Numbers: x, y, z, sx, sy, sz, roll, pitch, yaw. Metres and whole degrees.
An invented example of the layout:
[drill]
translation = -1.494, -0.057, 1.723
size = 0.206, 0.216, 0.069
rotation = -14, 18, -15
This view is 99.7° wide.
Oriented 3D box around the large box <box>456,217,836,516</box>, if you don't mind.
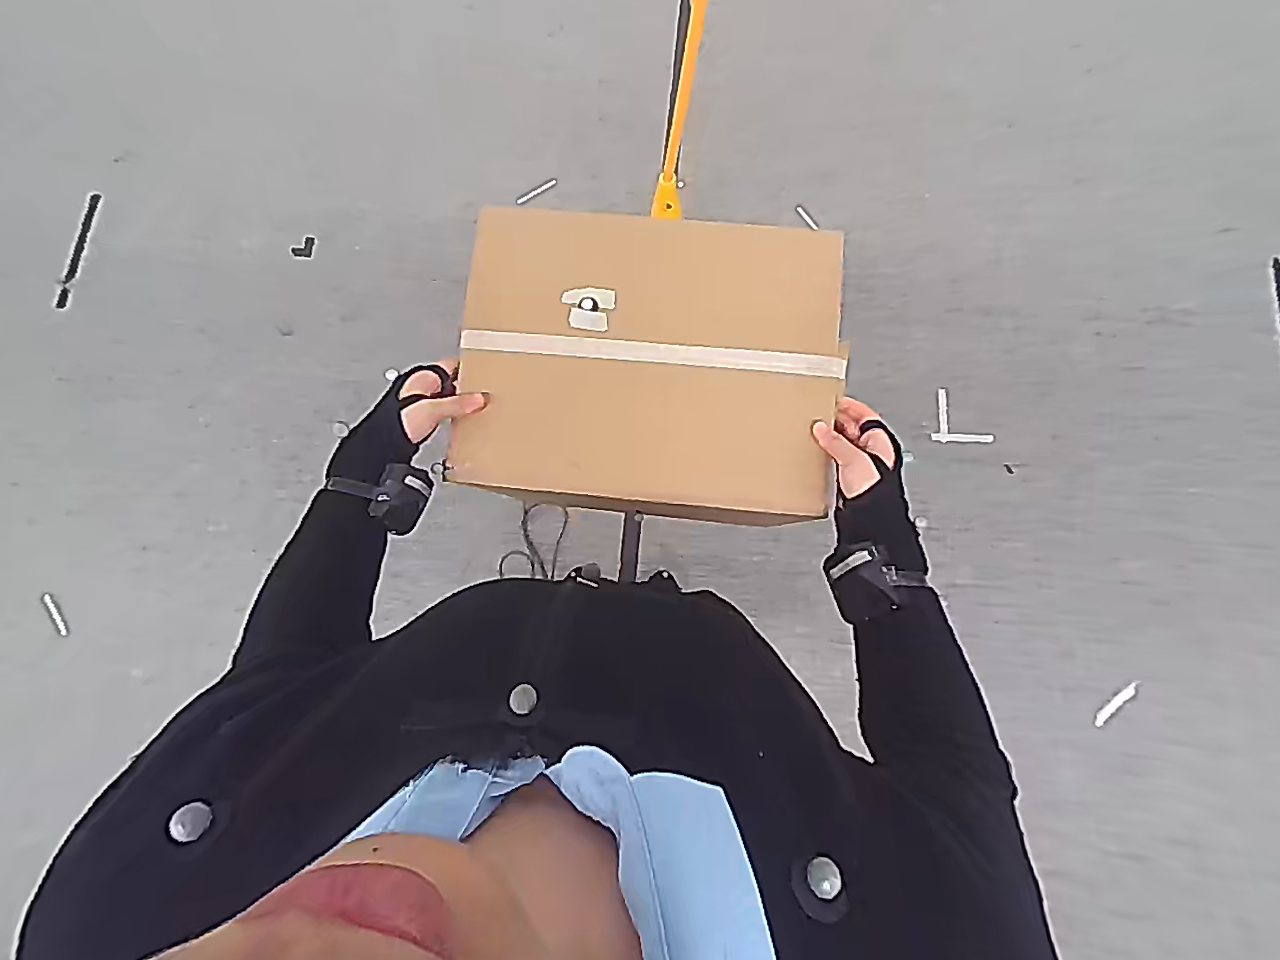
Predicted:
[large box]
translation = 0.019, -0.121, 0.737
size = 0.408, 0.320, 0.320
rotation = 5, 83, 4
